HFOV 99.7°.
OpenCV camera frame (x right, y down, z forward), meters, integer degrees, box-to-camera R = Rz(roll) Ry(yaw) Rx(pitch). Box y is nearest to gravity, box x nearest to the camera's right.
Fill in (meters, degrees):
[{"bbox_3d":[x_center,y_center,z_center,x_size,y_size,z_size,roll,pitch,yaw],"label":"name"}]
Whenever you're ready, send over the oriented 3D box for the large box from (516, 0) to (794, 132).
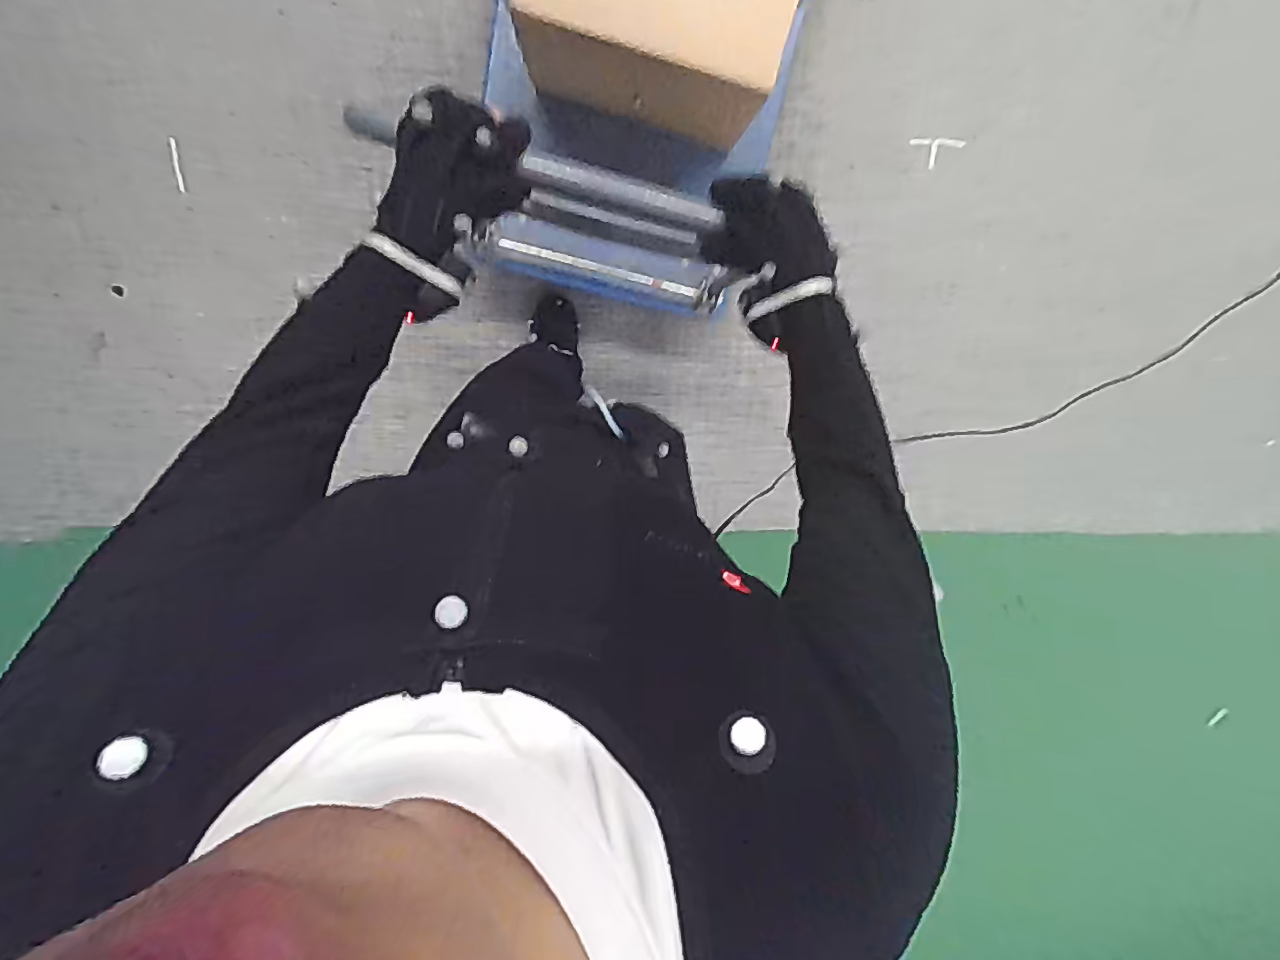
[{"bbox_3d":[0.042,-0.836,0.891,0.408,0.320,0.320,13,105,-6],"label":"large box"}]
